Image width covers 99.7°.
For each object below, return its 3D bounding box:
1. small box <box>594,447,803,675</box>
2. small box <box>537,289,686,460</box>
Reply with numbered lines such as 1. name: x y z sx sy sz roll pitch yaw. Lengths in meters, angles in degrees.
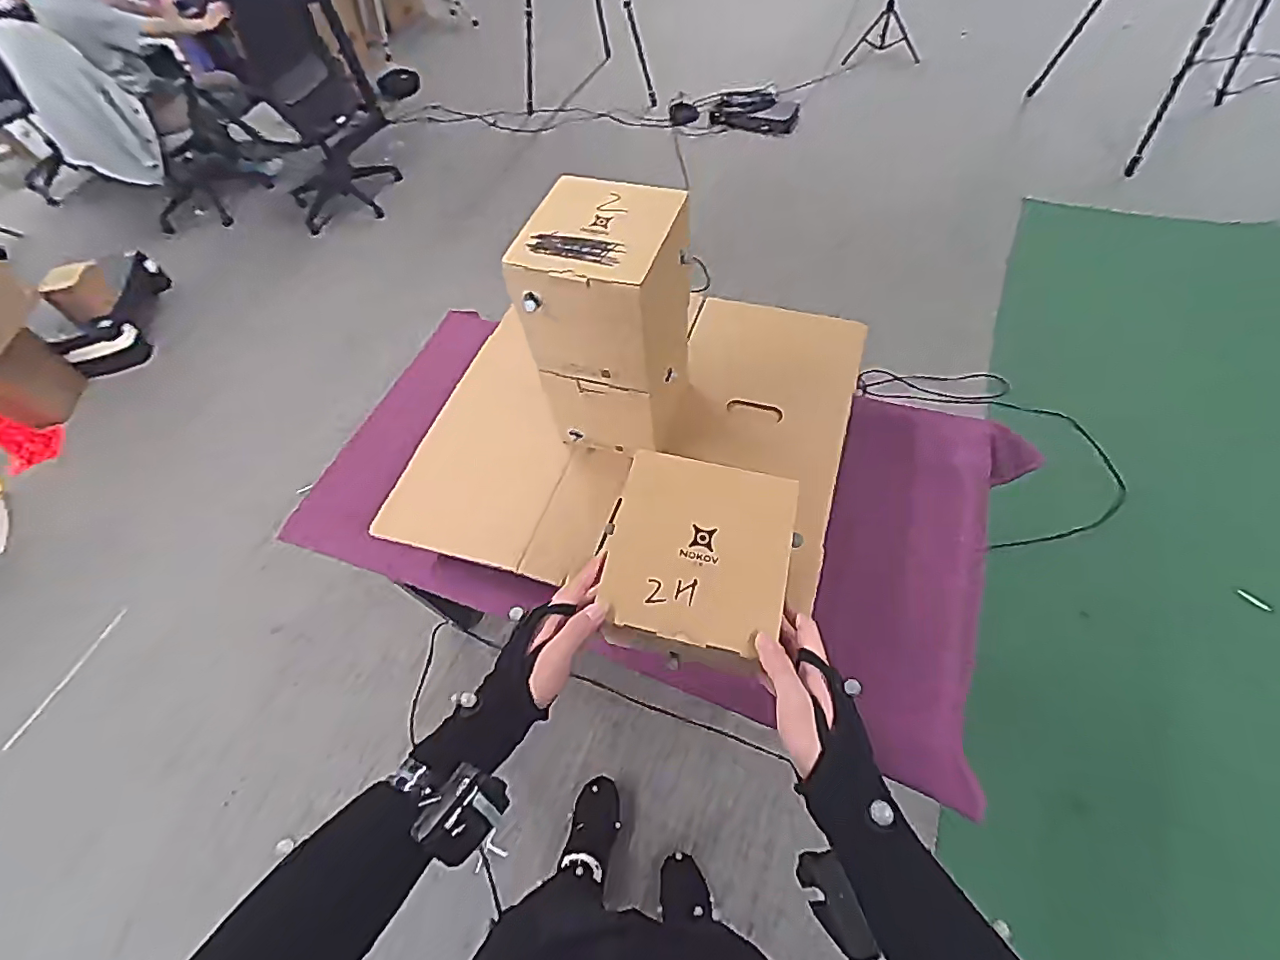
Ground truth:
1. small box: 0.060 0.093 0.571 0.168 0.176 0.179 12 68 8
2. small box: -0.030 -0.152 0.812 0.168 0.176 0.179 14 60 13
